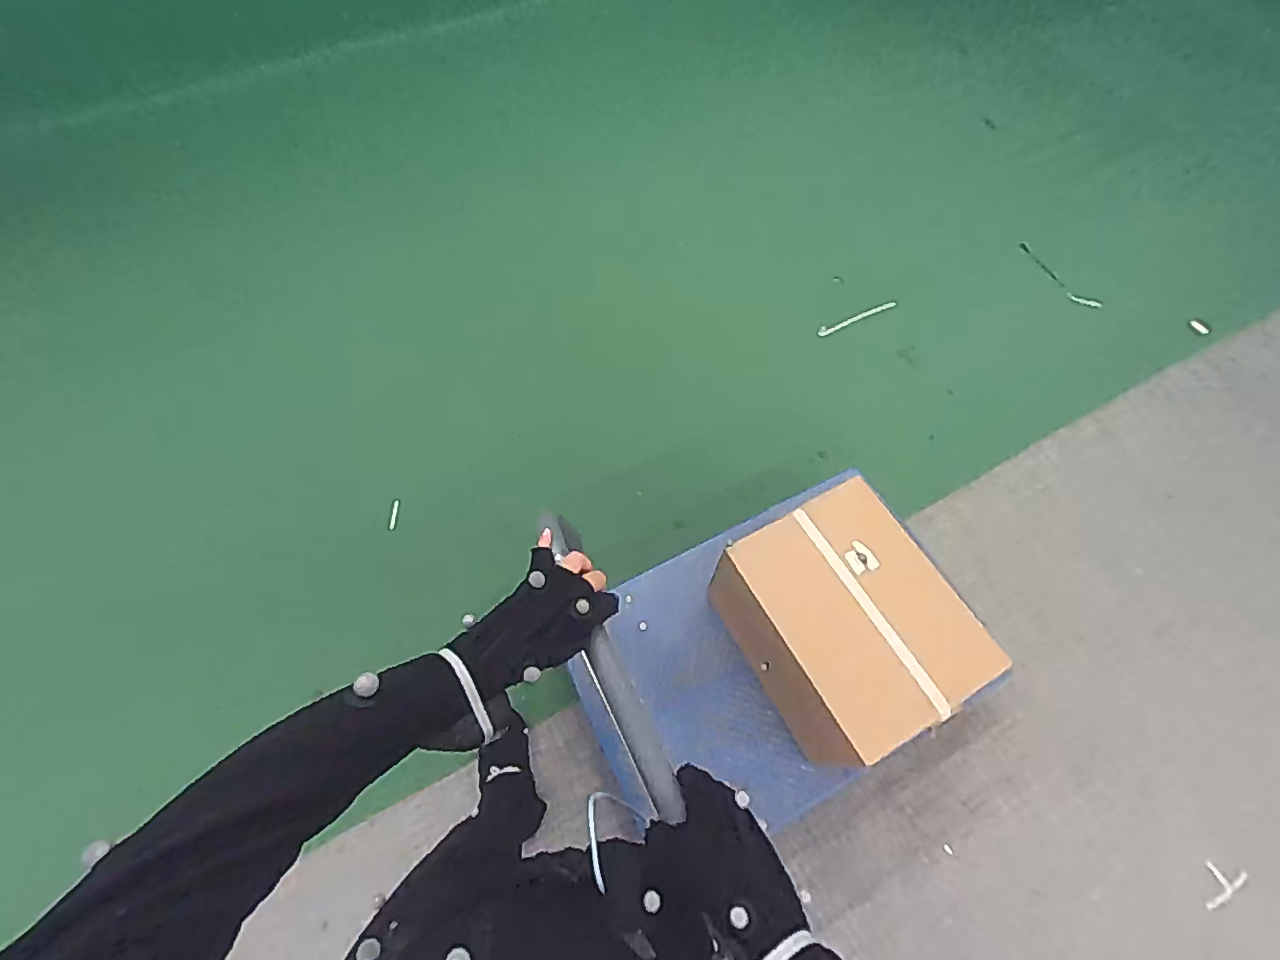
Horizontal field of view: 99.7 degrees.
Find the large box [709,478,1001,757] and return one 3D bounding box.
[{"bbox_3d":[0.382,0.279,1.082,0.320,0.320,0.408,-26,66,-13],"label":"large box"}]
